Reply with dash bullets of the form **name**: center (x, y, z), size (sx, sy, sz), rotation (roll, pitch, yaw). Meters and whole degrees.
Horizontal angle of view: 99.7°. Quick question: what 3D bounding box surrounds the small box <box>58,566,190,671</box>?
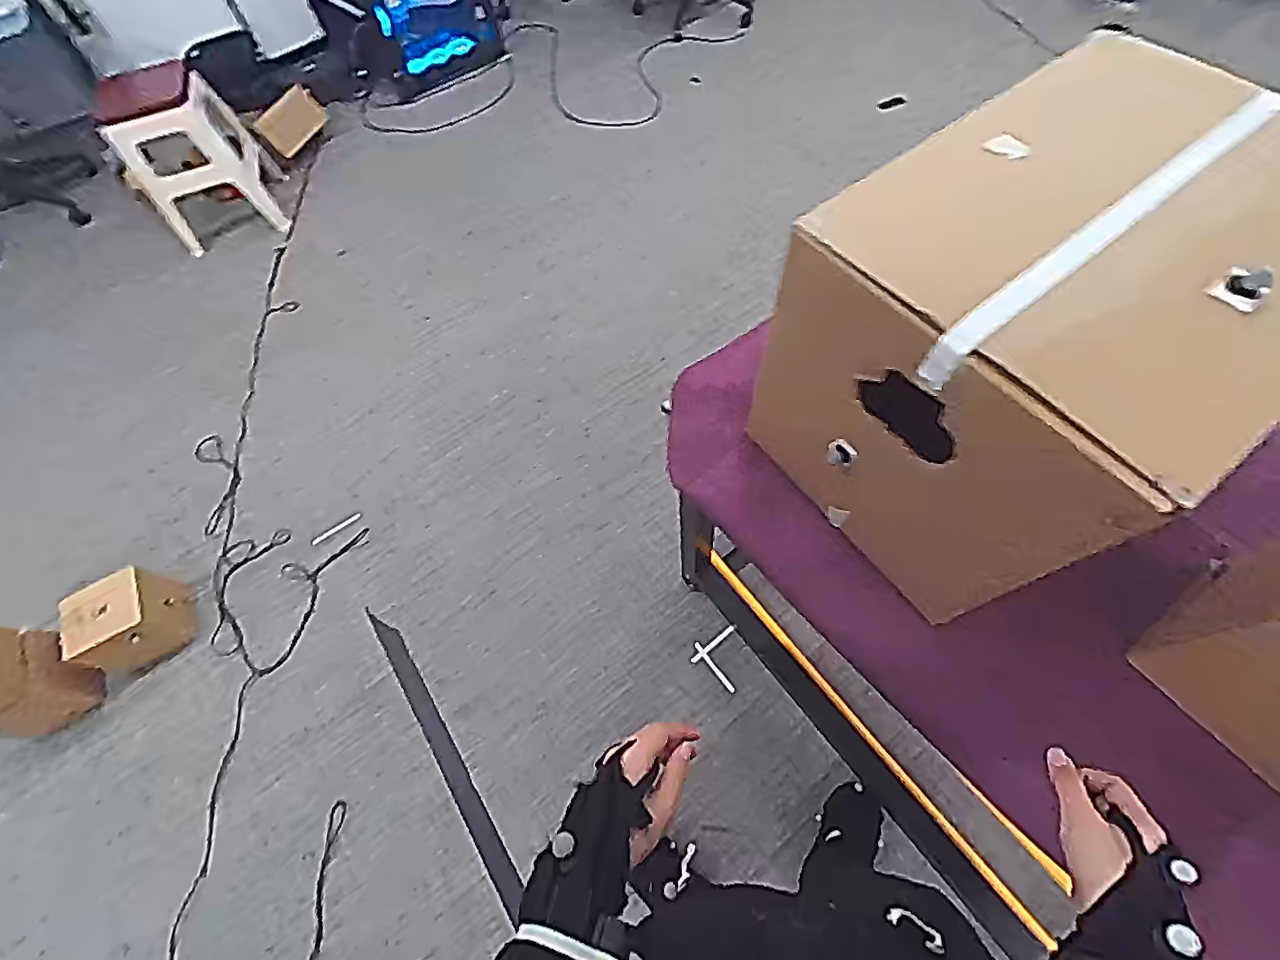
- **small box**: center (-1.252, 0.343, 1.326), size (0.179, 0.176, 0.168), rotation (-29, 63, -10)
